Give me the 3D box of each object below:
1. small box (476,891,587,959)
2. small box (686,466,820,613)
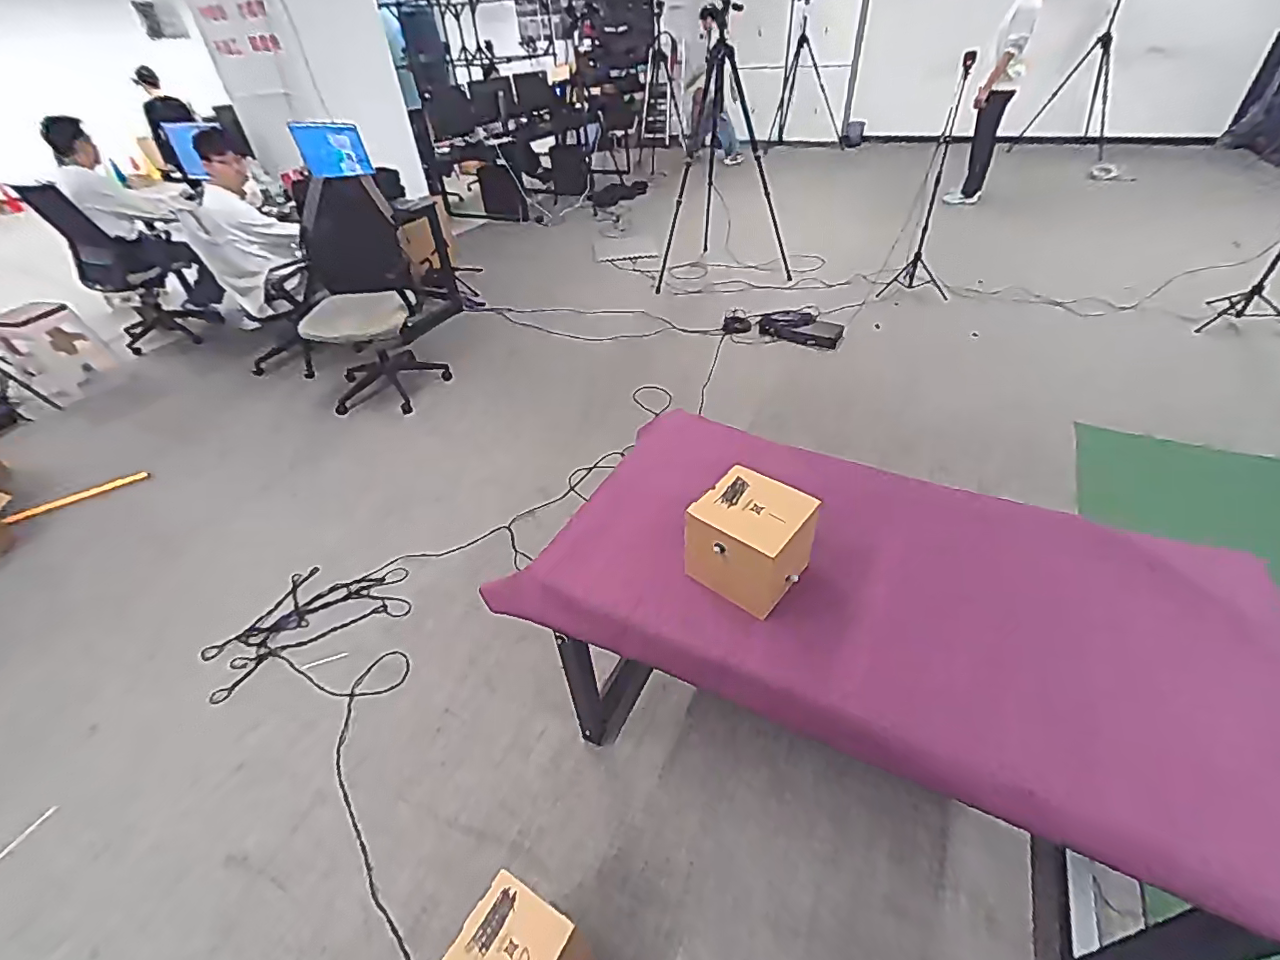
[{"bbox_3d":[-0.222,0.993,1.095,0.168,0.176,0.179,19,46,25],"label":"small box"},{"bbox_3d":[0.198,0.108,0.983,0.179,0.176,0.168,28,49,31],"label":"small box"}]
